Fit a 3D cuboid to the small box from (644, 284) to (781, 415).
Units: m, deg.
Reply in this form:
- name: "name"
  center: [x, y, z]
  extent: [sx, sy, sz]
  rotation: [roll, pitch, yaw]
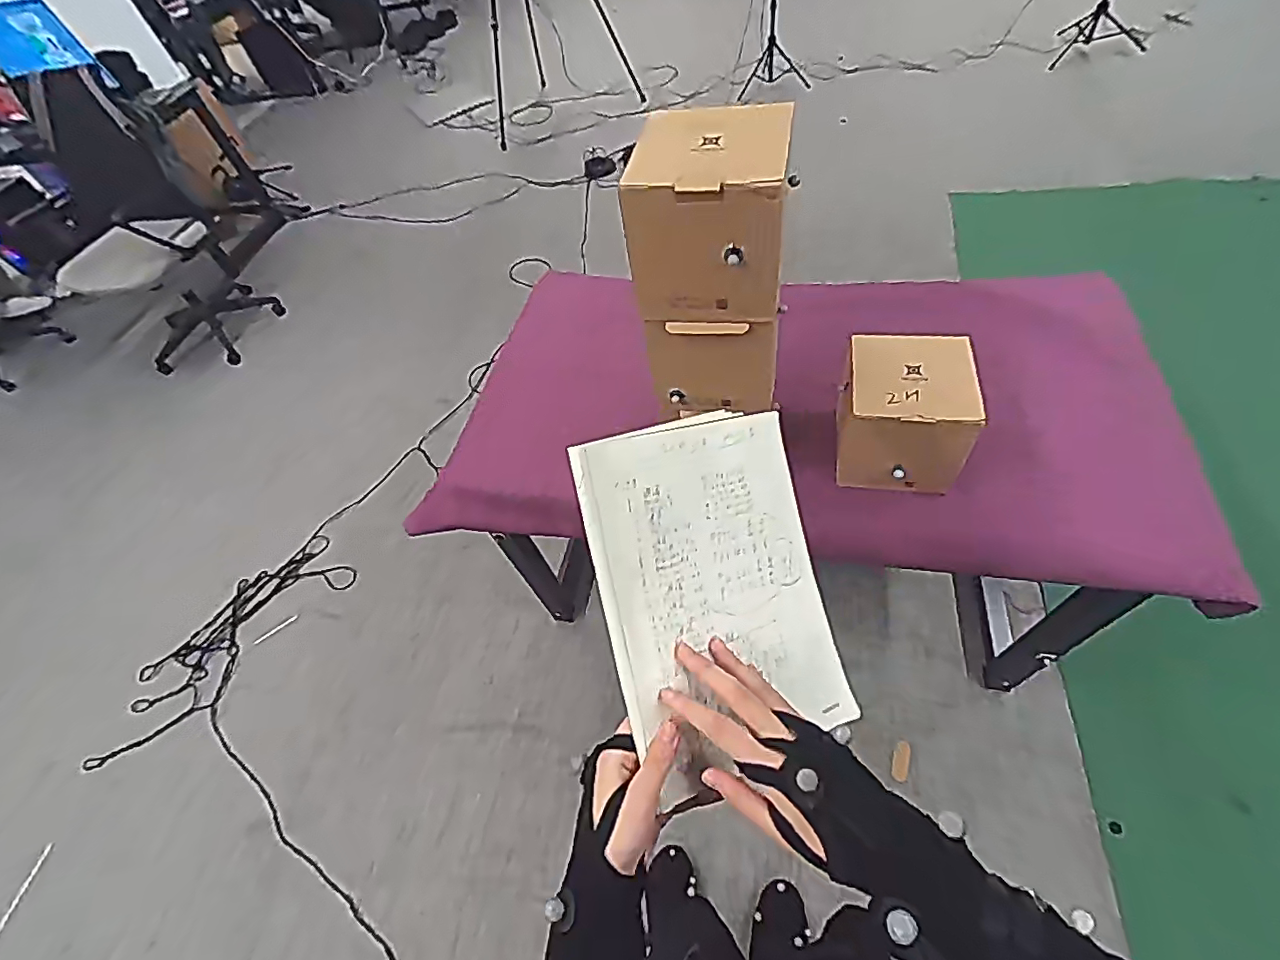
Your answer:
- name: "small box"
  center: [0.113, -0.212, 0.778]
  extent: [0.168, 0.176, 0.179]
  rotation: [5, 55, 14]

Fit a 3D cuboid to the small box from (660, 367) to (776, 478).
- name: "small box"
  center: [0.140, -0.121, 0.913]
  extent: [0.168, 0.176, 0.179]
  rotation: [5, 56, 15]

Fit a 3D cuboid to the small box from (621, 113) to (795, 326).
- name: "small box"
  center: [0.088, -0.303, 0.645]
  extent: [0.168, 0.176, 0.179]
  rotation: [6, 55, 14]
